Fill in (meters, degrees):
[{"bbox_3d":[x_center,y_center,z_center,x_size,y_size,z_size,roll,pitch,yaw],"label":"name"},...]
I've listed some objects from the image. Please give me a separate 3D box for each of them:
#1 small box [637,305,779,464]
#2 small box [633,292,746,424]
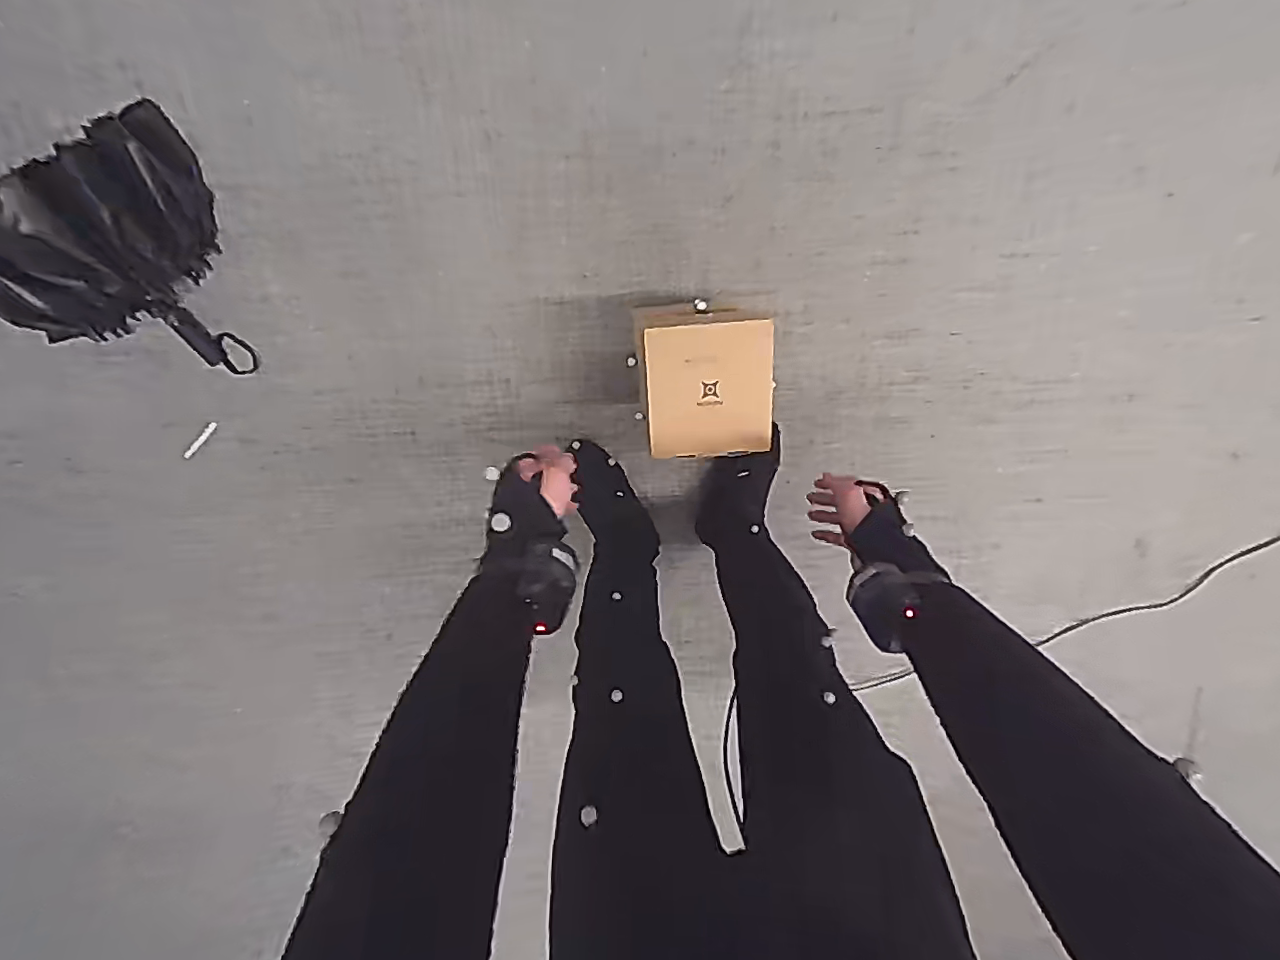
[{"bbox_3d":[0.085,-0.137,0.742,0.168,0.176,0.179,-6,112,-1],"label":"small box"},{"bbox_3d":[0.077,-0.204,0.891,0.168,0.176,0.179,-6,114,0],"label":"small box"}]
